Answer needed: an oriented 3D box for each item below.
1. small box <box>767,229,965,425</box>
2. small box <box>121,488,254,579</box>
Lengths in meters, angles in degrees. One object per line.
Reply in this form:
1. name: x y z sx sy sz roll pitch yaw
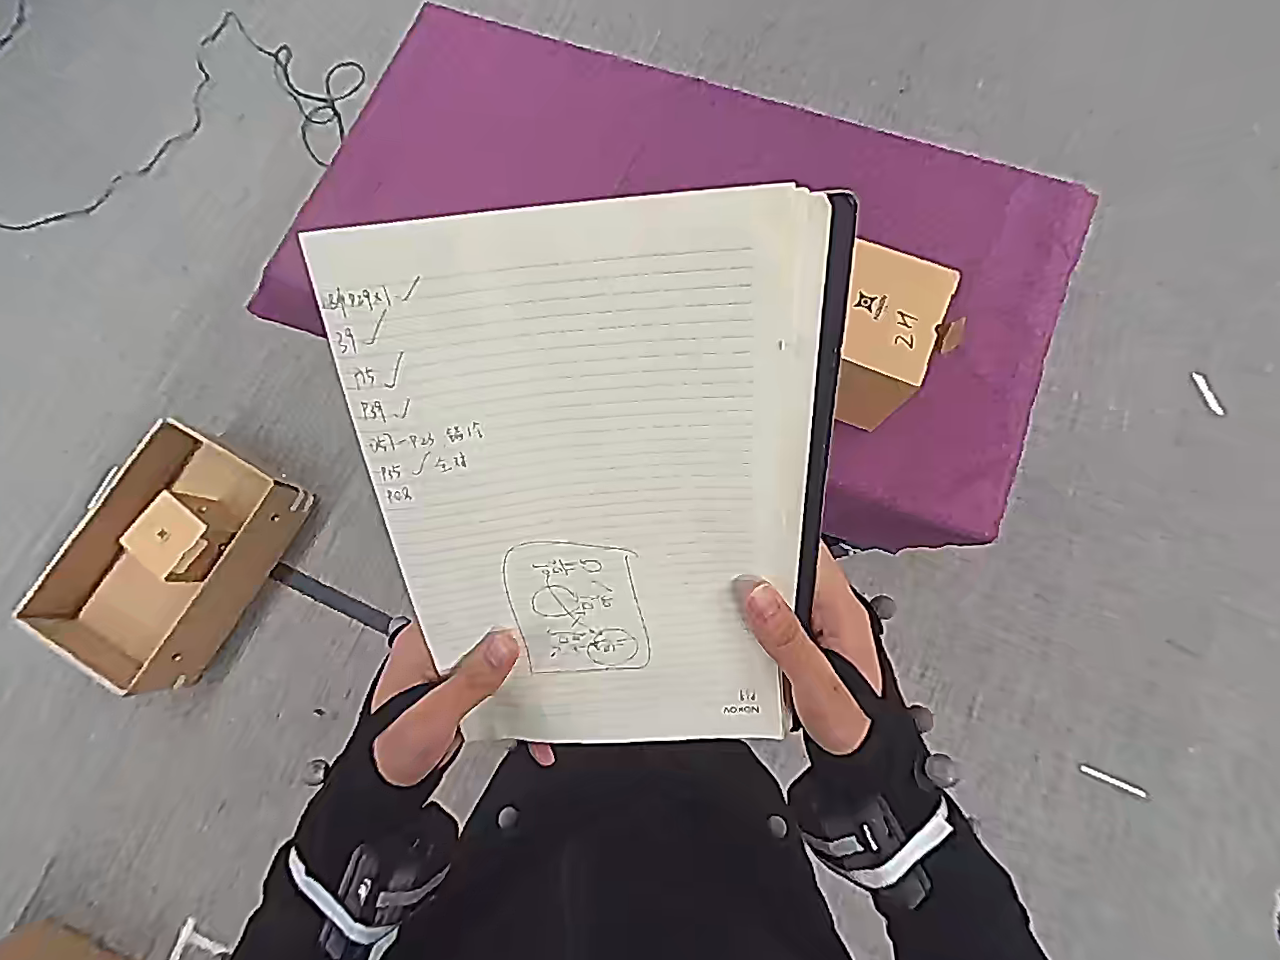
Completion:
1. small box: 0.288 -0.194 0.730 0.179 0.176 0.168 24 80 8
2. small box: -1.189 0.146 1.437 0.179 0.176 0.168 36 82 10
